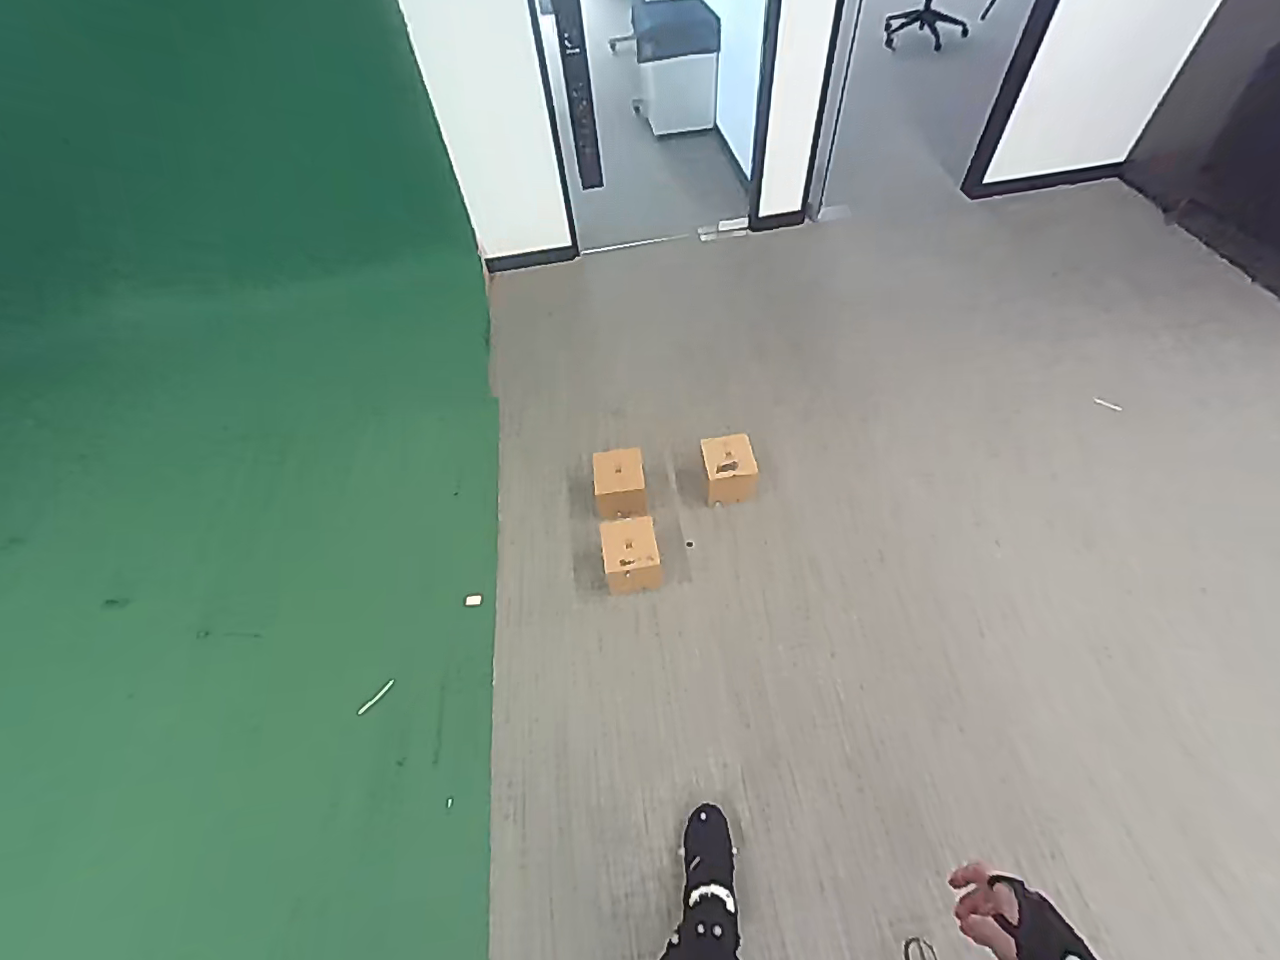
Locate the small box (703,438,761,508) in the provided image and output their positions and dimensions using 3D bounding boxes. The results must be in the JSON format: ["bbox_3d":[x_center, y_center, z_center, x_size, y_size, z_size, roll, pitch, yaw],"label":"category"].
[{"bbox_3d":[0.312,-0.018,1.861,0.168,0.176,0.179,-8,53,0],"label":"small box"}]

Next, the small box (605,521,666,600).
[{"bbox_3d":[-0.012,0.254,1.697,0.168,0.176,0.179,-9,52,0],"label":"small box"}]
